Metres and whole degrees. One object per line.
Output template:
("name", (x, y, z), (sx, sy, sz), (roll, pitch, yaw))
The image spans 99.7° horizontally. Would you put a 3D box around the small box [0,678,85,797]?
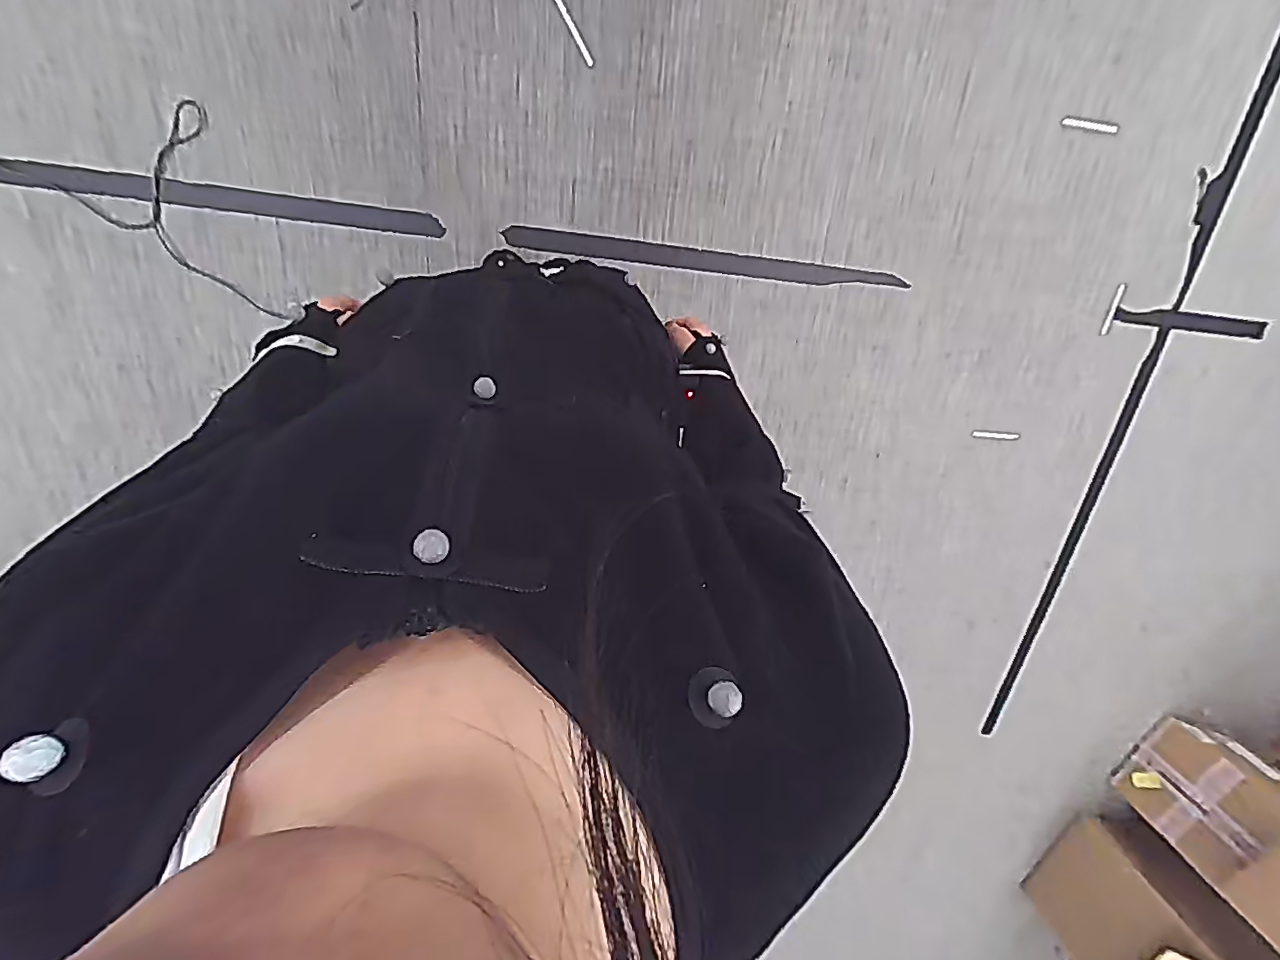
("small box", (-1.414, 0.578, 1.191), (0.168, 0.176, 0.179), (-35, 110, 6))
